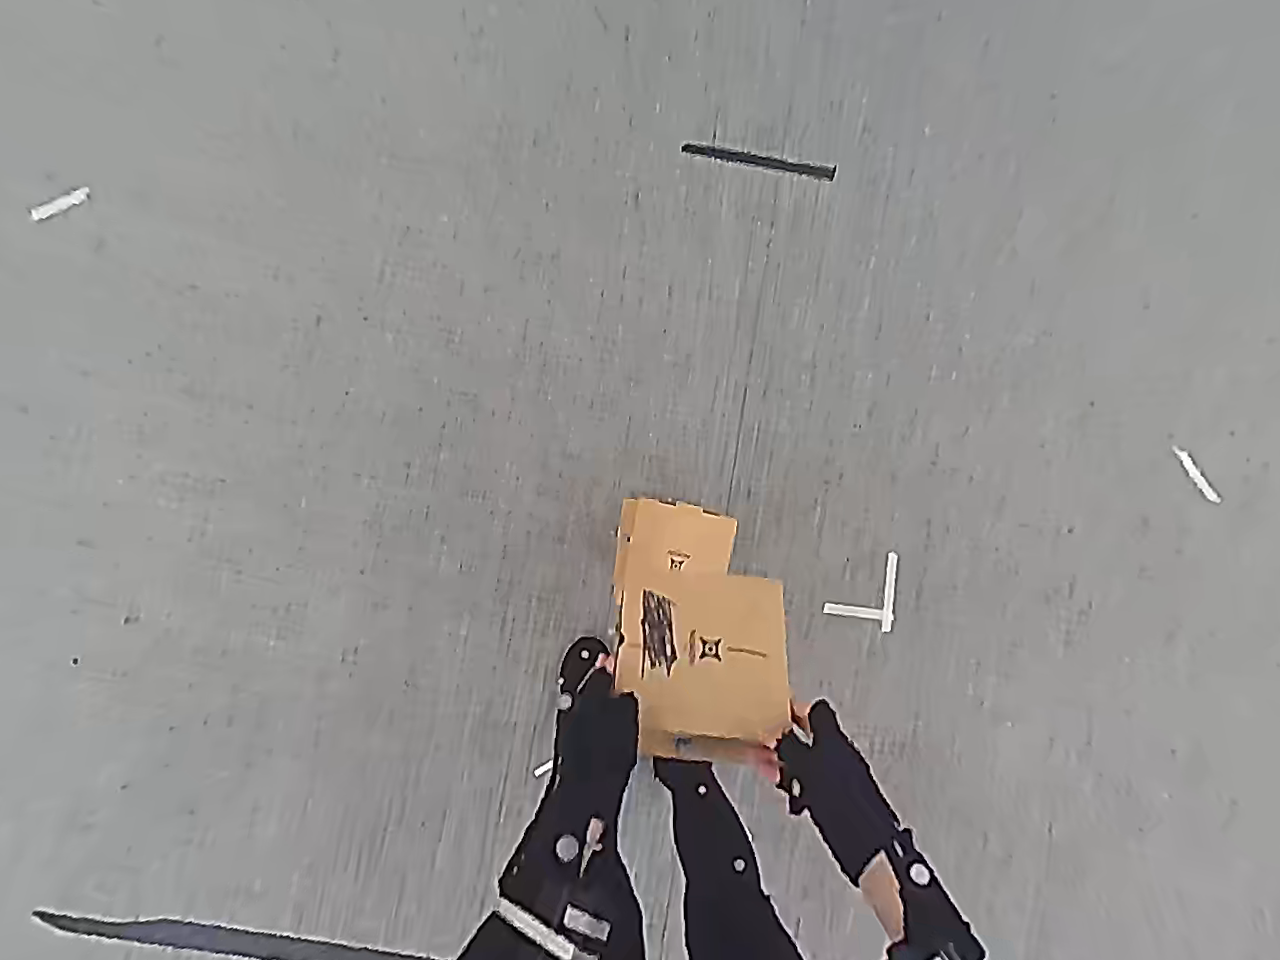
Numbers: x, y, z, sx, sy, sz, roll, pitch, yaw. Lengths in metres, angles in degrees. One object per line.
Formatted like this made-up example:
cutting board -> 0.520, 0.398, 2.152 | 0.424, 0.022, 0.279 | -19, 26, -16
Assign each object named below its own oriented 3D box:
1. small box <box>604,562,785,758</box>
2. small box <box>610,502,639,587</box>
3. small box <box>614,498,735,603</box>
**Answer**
small box -> 0.054, 0.212, 0.620 | 0.179, 0.176, 0.168 | 7, 56, -1
small box -> 0.035, 0.139, 1.101 | 0.179, 0.176, 0.168 | 7, 84, -2
small box -> 0.051, 0.140, 0.938 | 0.168, 0.176, 0.179 | 14, 83, -2
